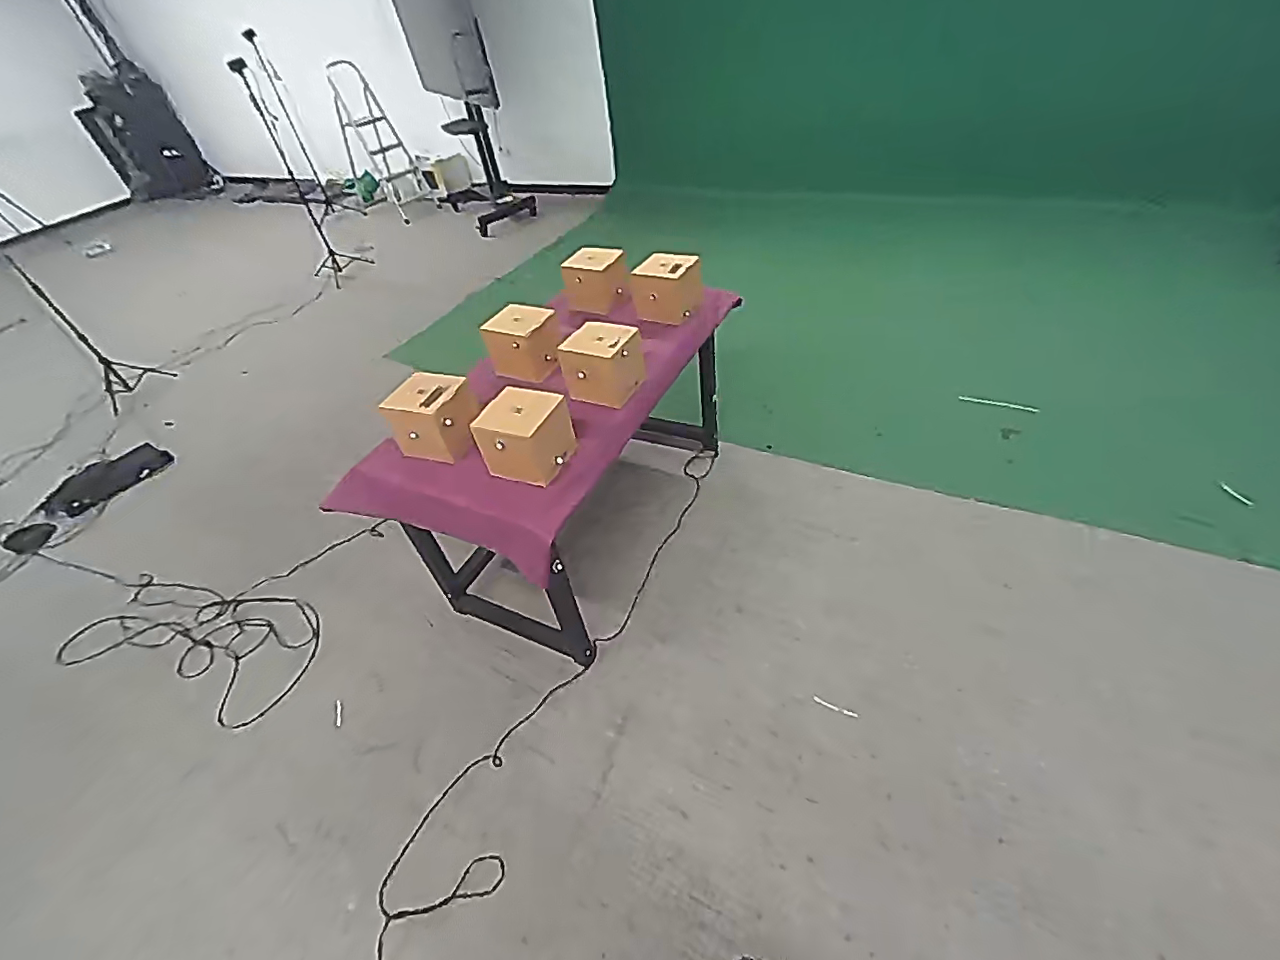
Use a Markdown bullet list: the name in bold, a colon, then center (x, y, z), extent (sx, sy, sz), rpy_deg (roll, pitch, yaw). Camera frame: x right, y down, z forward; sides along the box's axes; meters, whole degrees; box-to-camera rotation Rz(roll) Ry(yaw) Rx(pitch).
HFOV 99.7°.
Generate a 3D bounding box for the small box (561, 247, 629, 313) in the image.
- **small box**: center (-0.157, -0.721, 1.952), extent (0.179, 0.176, 0.168), rpy_deg (17, 51, 24)

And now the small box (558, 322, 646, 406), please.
- **small box**: center (-0.102, -0.329, 1.541), extent (0.179, 0.176, 0.168), rpy_deg (15, 49, 26)

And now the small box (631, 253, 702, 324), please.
- **small box**: center (0.097, -0.646, 1.830), extent (0.179, 0.176, 0.168), rpy_deg (18, 51, 28)

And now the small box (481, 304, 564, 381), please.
- **small box**: center (-0.359, -0.429, 1.691), extent (0.179, 0.176, 0.168), rpy_deg (16, 49, 23)
